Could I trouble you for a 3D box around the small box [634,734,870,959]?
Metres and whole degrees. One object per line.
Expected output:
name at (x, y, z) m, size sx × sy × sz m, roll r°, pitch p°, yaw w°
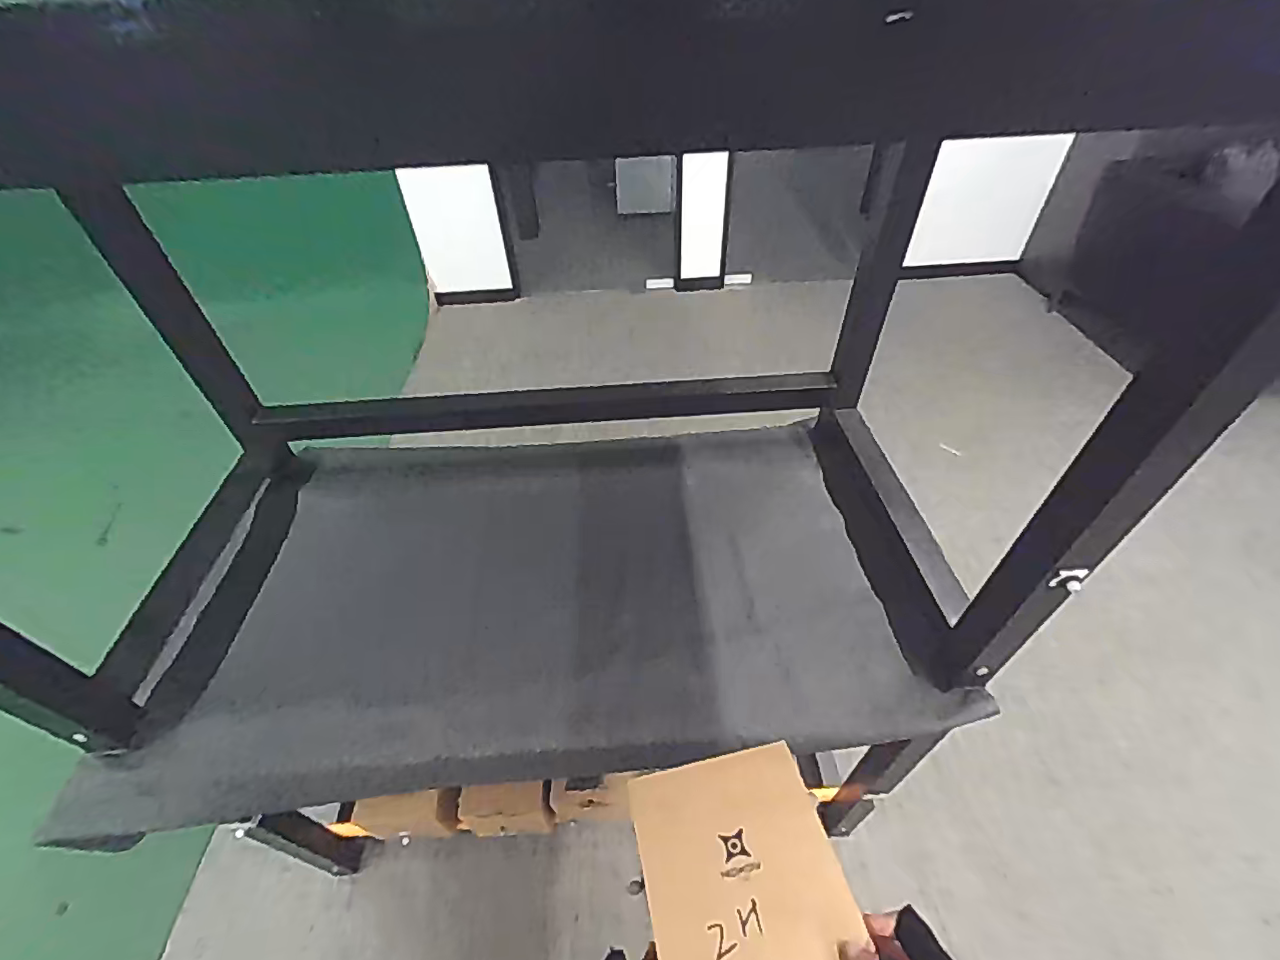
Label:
small box at (0.094, 0.390, 0.531) m, size 0.168 × 0.176 × 0.179 m, roll -12°, pitch 38°, yaw -5°
